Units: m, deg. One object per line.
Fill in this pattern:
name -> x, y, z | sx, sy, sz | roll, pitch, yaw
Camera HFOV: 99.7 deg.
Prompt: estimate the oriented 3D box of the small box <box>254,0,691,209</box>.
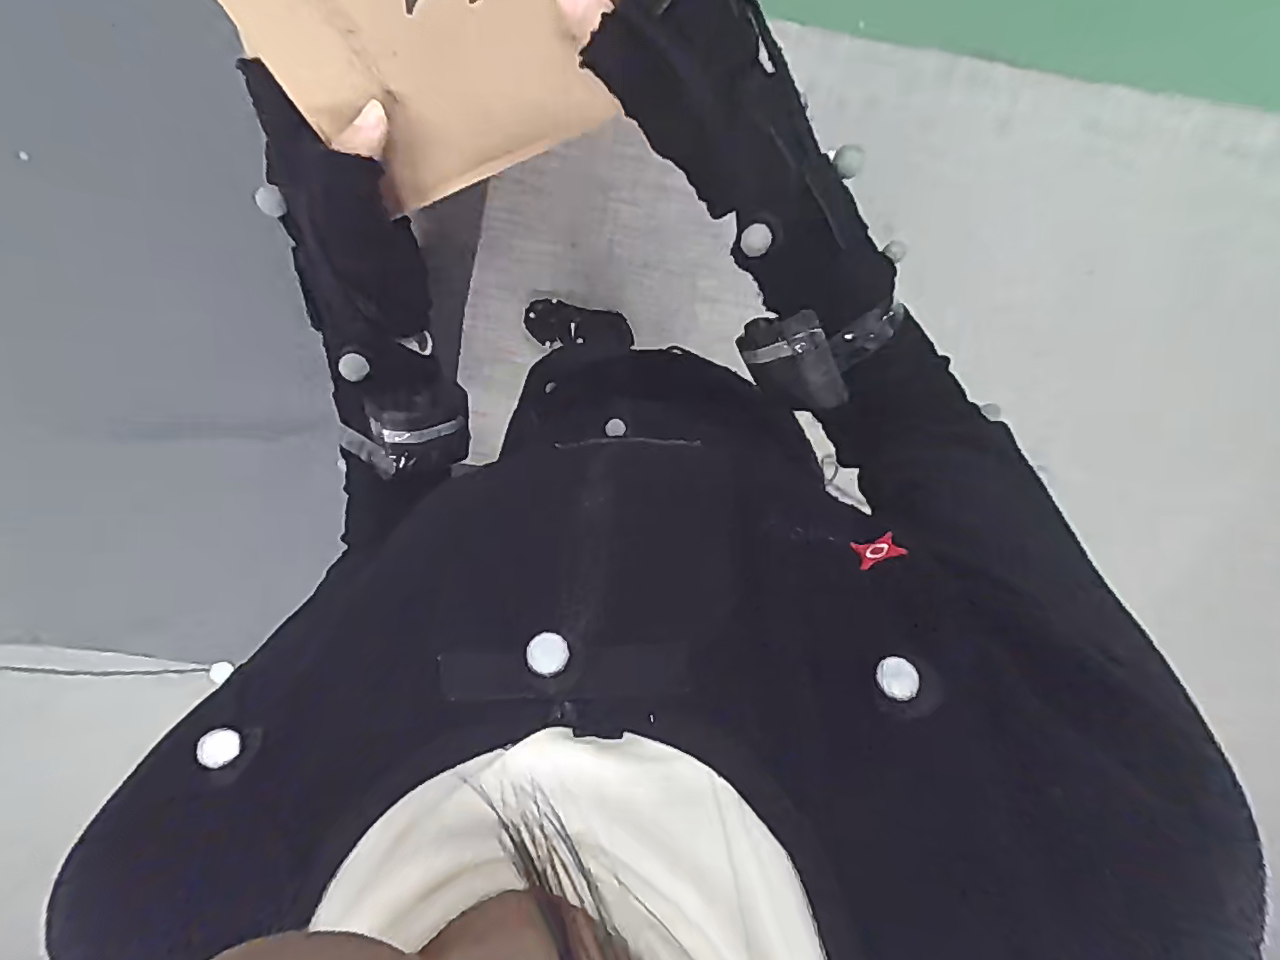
small box -> -0.086, -0.283, 0.279 | 0.179, 0.176, 0.168 | -15, 138, 13
